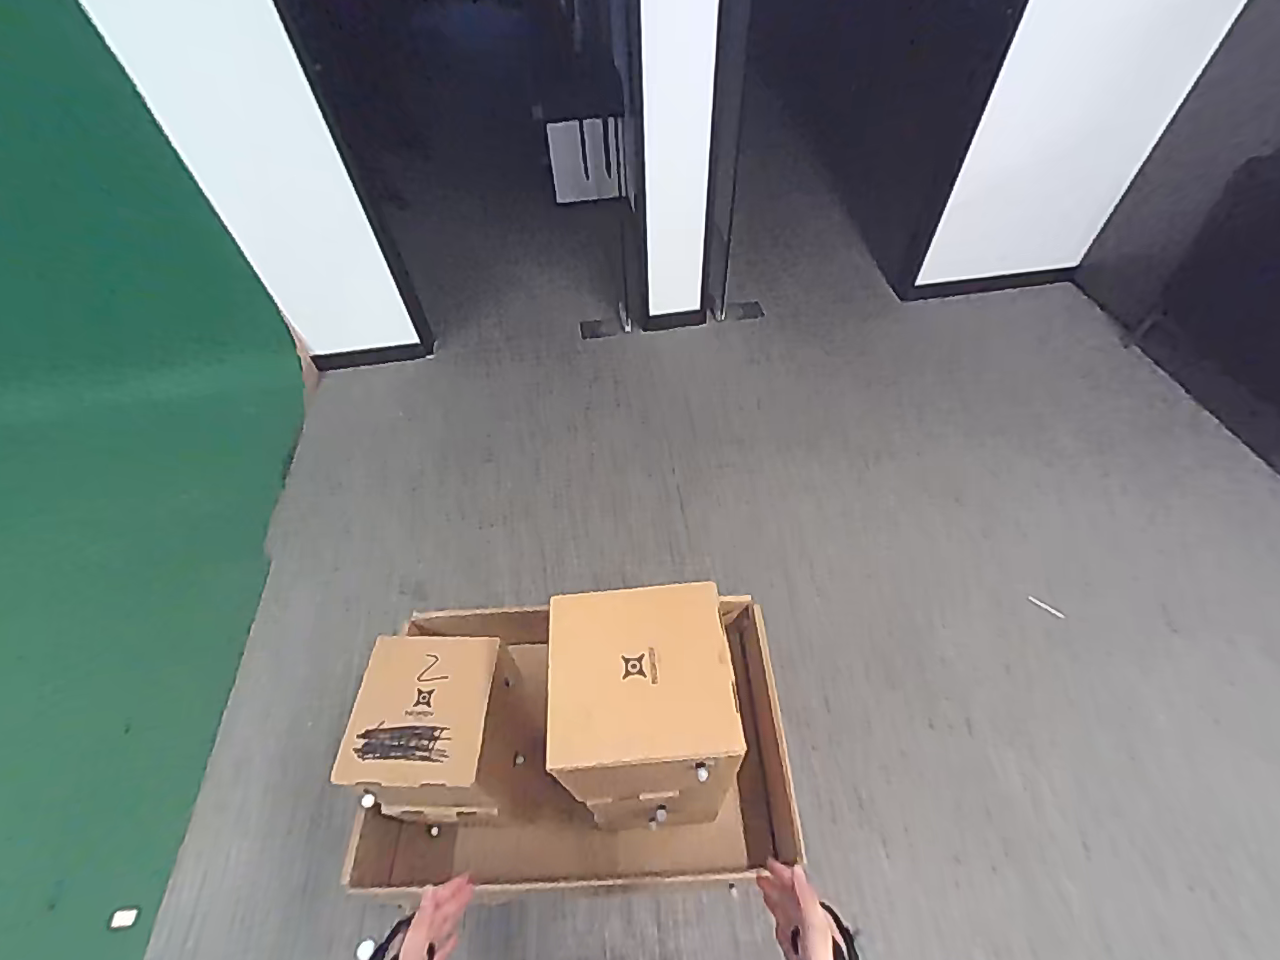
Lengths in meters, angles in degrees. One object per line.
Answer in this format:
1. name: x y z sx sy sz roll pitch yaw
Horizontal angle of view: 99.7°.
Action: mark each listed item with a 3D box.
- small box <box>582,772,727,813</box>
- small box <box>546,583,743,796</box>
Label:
1. small box: 0.015 0.328 0.710 0.168 0.176 0.179 -5 53 -1
2. small box: 0.003 0.229 0.580 0.179 0.176 0.168 -5 52 -1
